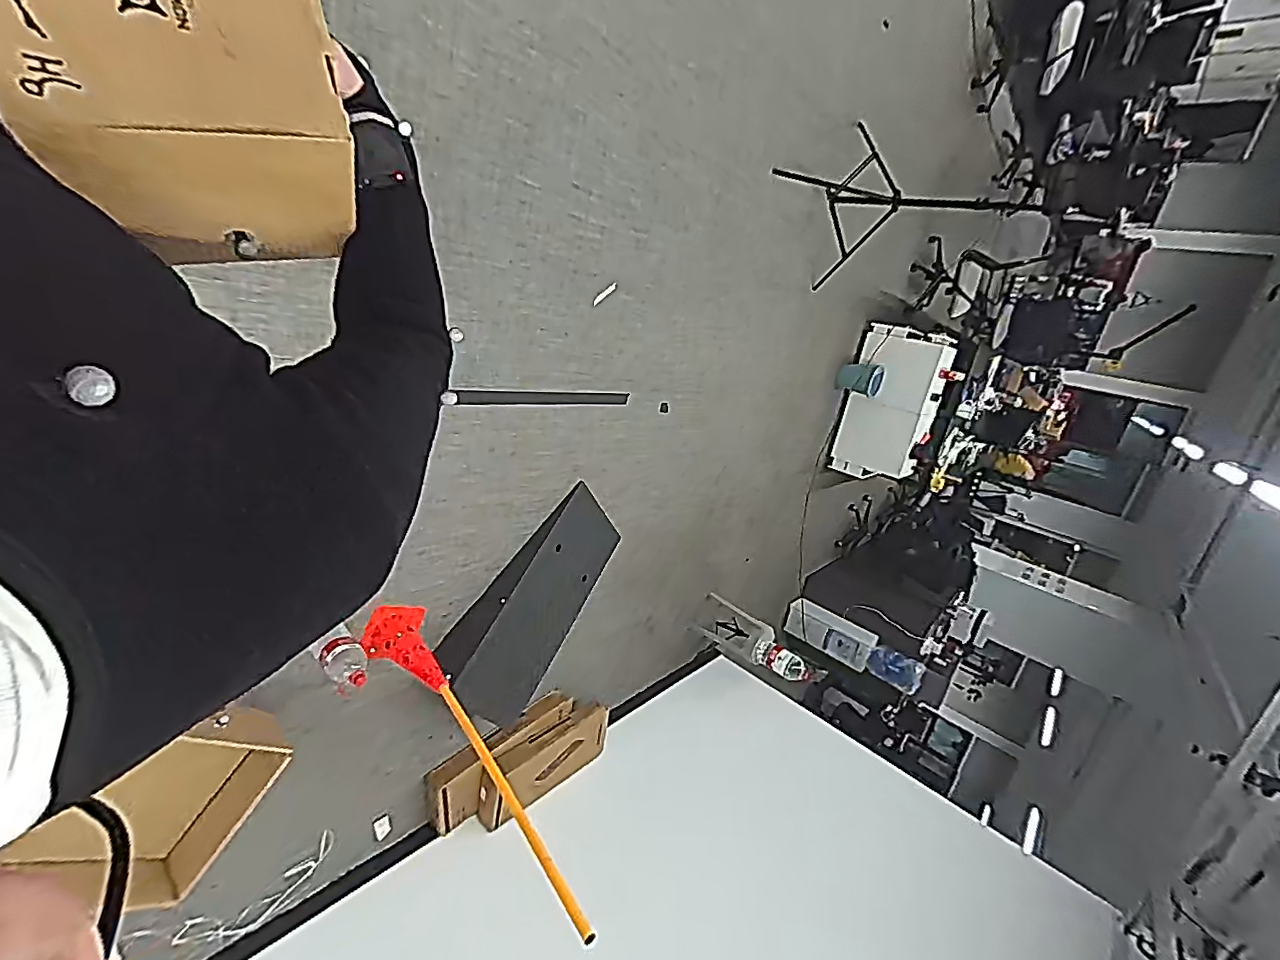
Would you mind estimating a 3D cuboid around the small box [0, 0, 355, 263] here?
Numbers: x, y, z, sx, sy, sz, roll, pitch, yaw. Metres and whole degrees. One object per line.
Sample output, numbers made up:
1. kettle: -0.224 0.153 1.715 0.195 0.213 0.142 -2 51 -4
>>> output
1. small box: -0.336 -0.285 0.415 0.179 0.176 0.168 -16 89 -29
